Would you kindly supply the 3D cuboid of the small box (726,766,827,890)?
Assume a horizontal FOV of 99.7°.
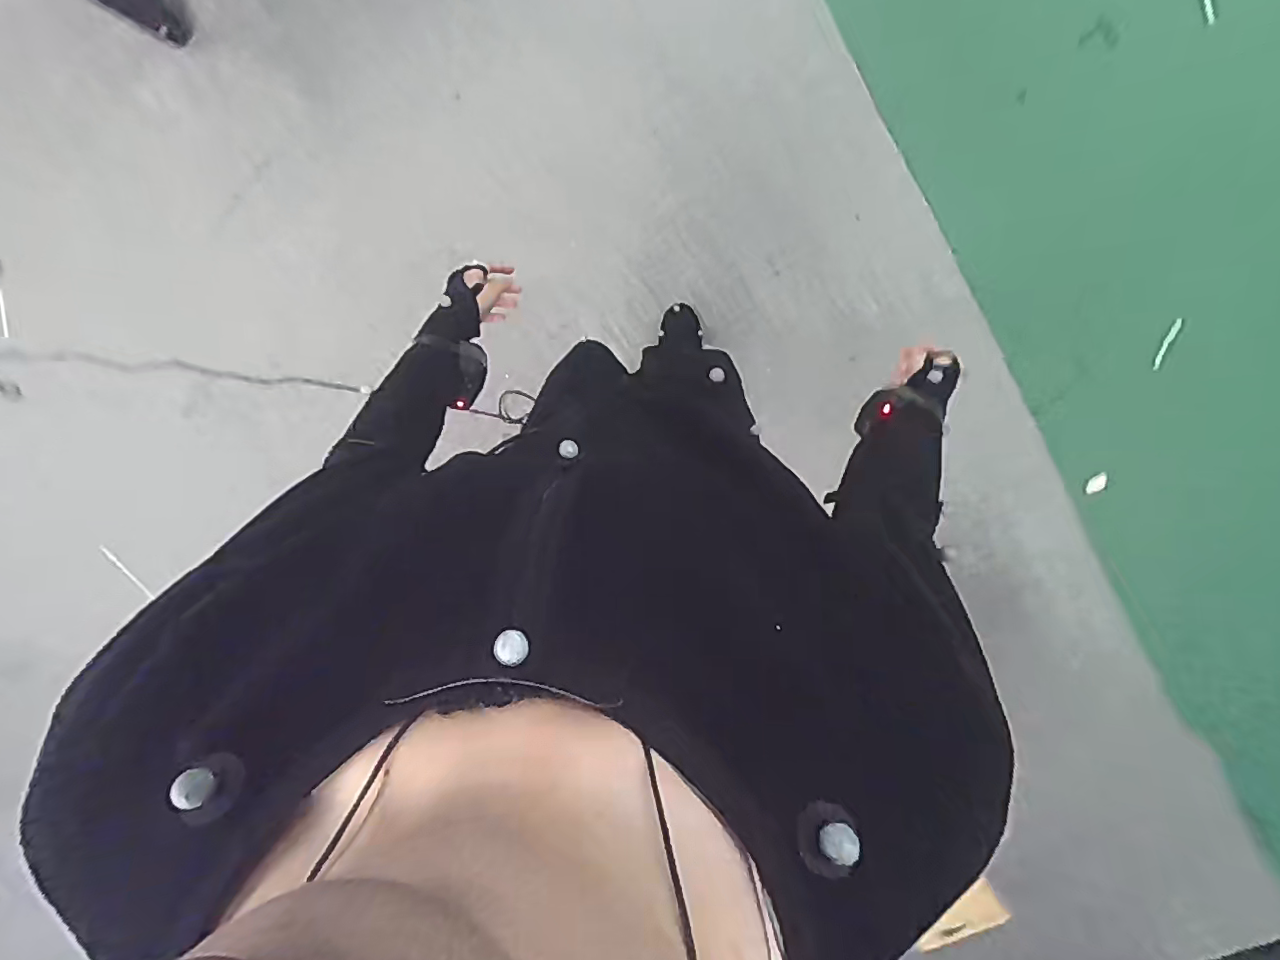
[{"bbox_3d":[0.297,0.780,1.203,0.168,0.176,0.179,-19,102,10],"label":"small box"}]
